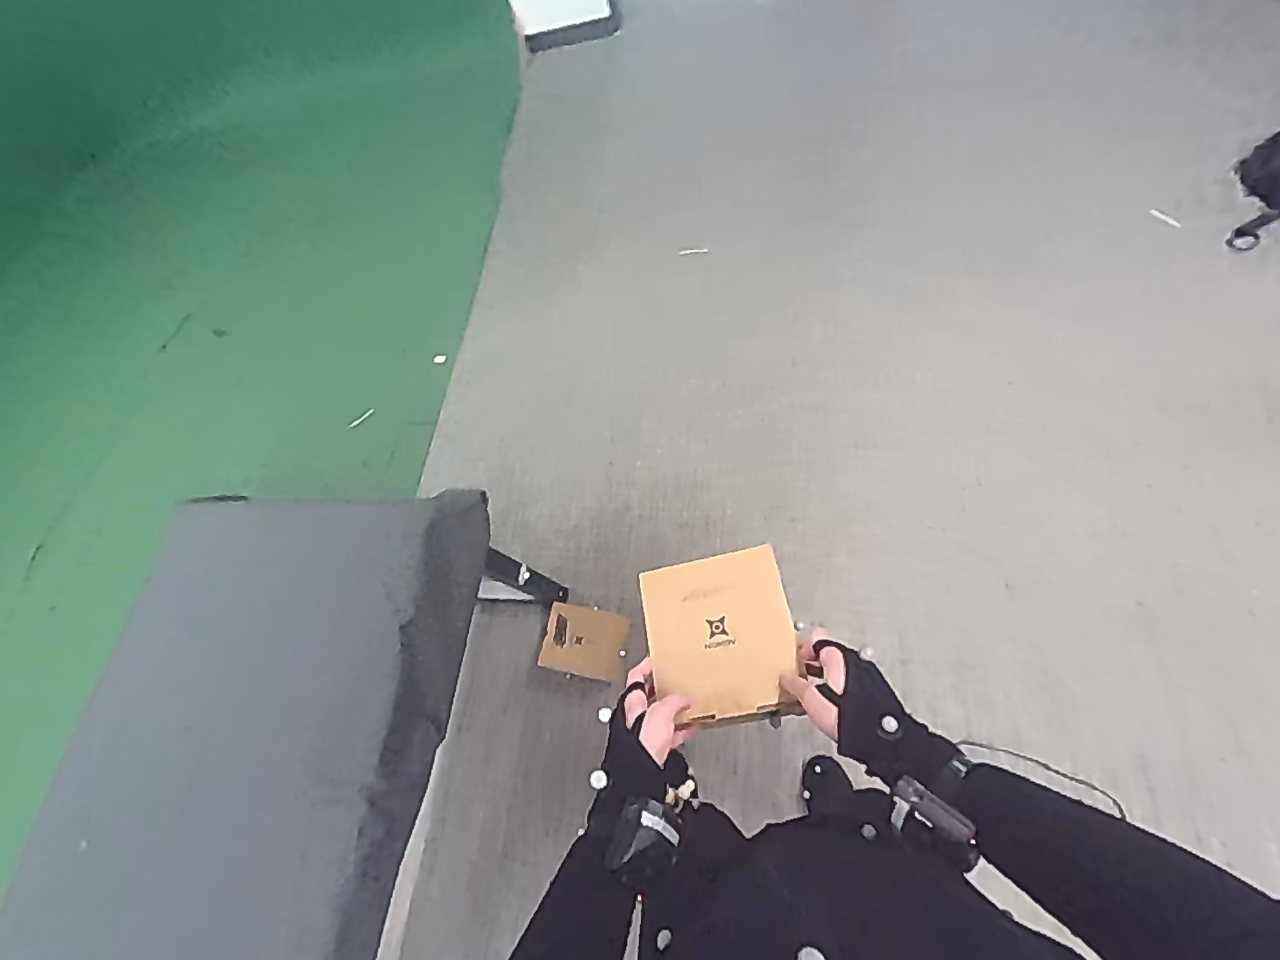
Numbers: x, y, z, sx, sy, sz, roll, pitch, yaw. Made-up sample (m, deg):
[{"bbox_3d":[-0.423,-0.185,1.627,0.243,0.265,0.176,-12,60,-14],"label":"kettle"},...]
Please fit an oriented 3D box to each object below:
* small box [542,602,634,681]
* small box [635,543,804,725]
[{"bbox_3d":[-0.133,0.436,1.447,0.179,0.176,0.168,6,69,17],"label":"small box"},{"bbox_3d":[0.103,0.202,0.675,0.168,0.176,0.179,-14,59,10],"label":"small box"}]
